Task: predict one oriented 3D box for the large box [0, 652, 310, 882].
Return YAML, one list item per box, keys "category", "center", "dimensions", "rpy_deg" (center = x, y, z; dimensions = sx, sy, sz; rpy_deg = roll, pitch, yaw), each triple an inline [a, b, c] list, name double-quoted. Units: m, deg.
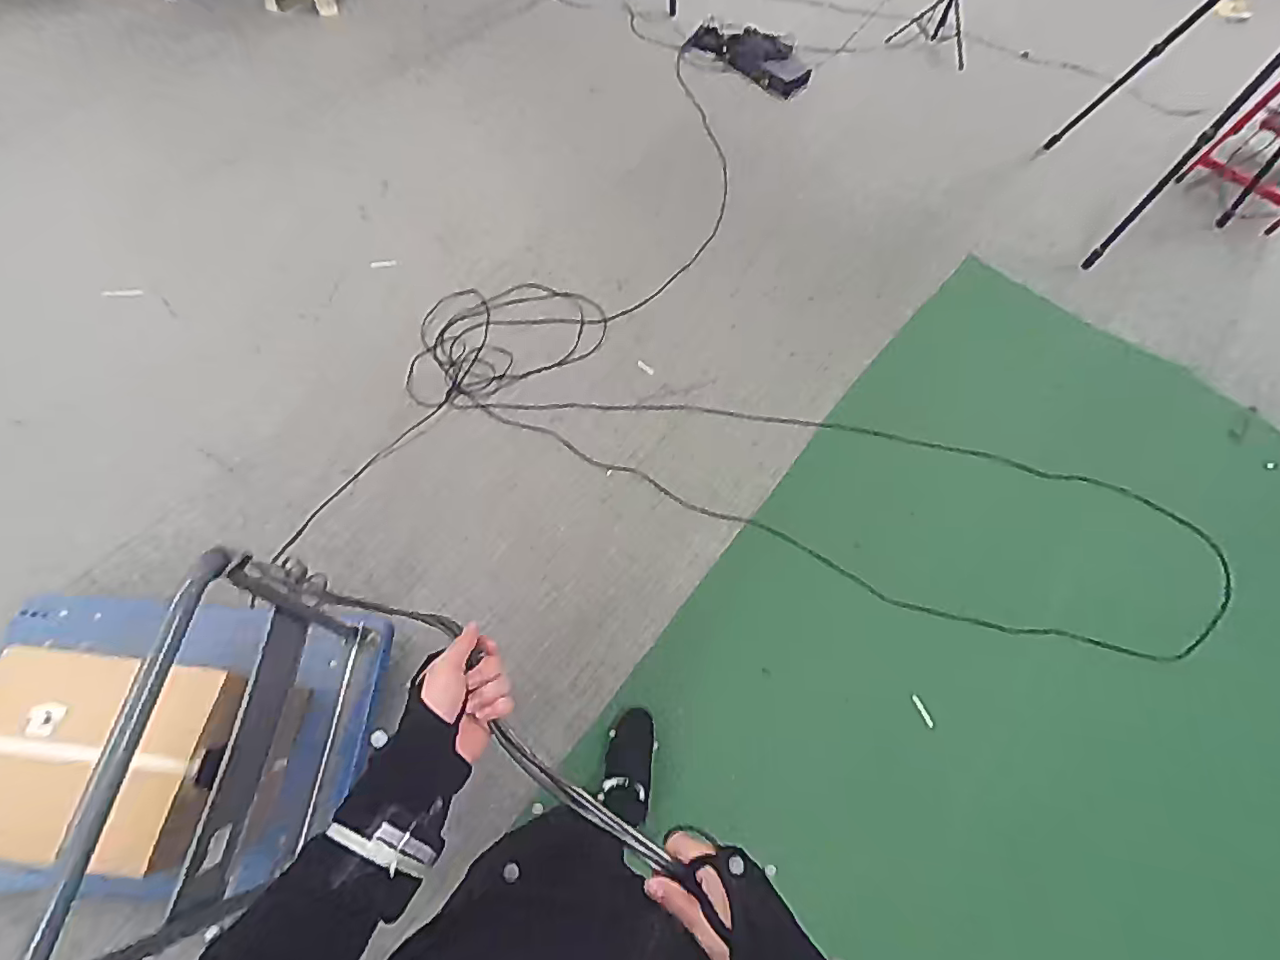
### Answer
- category: "large box"
  center: [-0.948, 0.527, 1.036]
  dimensions: [0.408, 0.320, 0.320]
  rpy_deg: [7, 64, 0]
